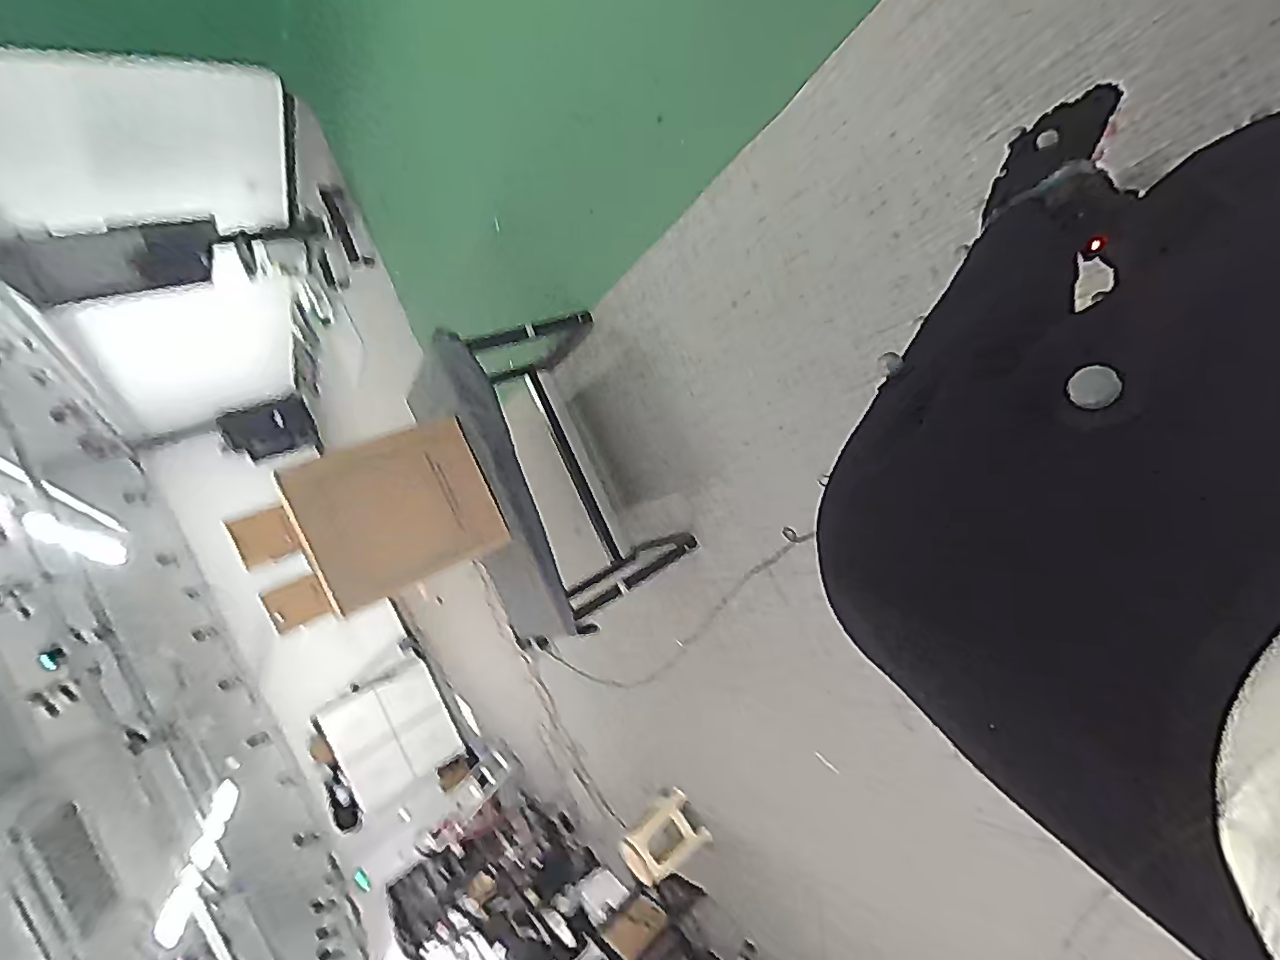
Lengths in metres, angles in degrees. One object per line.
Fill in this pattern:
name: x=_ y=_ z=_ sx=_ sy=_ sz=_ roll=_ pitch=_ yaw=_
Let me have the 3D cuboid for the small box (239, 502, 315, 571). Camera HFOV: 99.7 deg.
small box: x=-1.242 y=0.192 z=1.864 sx=0.179 sy=0.176 sz=0.168 roll=-31 pitch=86 yaw=56

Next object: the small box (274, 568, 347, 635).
small box: x=-1.133 y=0.417 z=1.869 sx=0.179 sy=0.176 sz=0.168 roll=-24 pitch=93 yaw=57
